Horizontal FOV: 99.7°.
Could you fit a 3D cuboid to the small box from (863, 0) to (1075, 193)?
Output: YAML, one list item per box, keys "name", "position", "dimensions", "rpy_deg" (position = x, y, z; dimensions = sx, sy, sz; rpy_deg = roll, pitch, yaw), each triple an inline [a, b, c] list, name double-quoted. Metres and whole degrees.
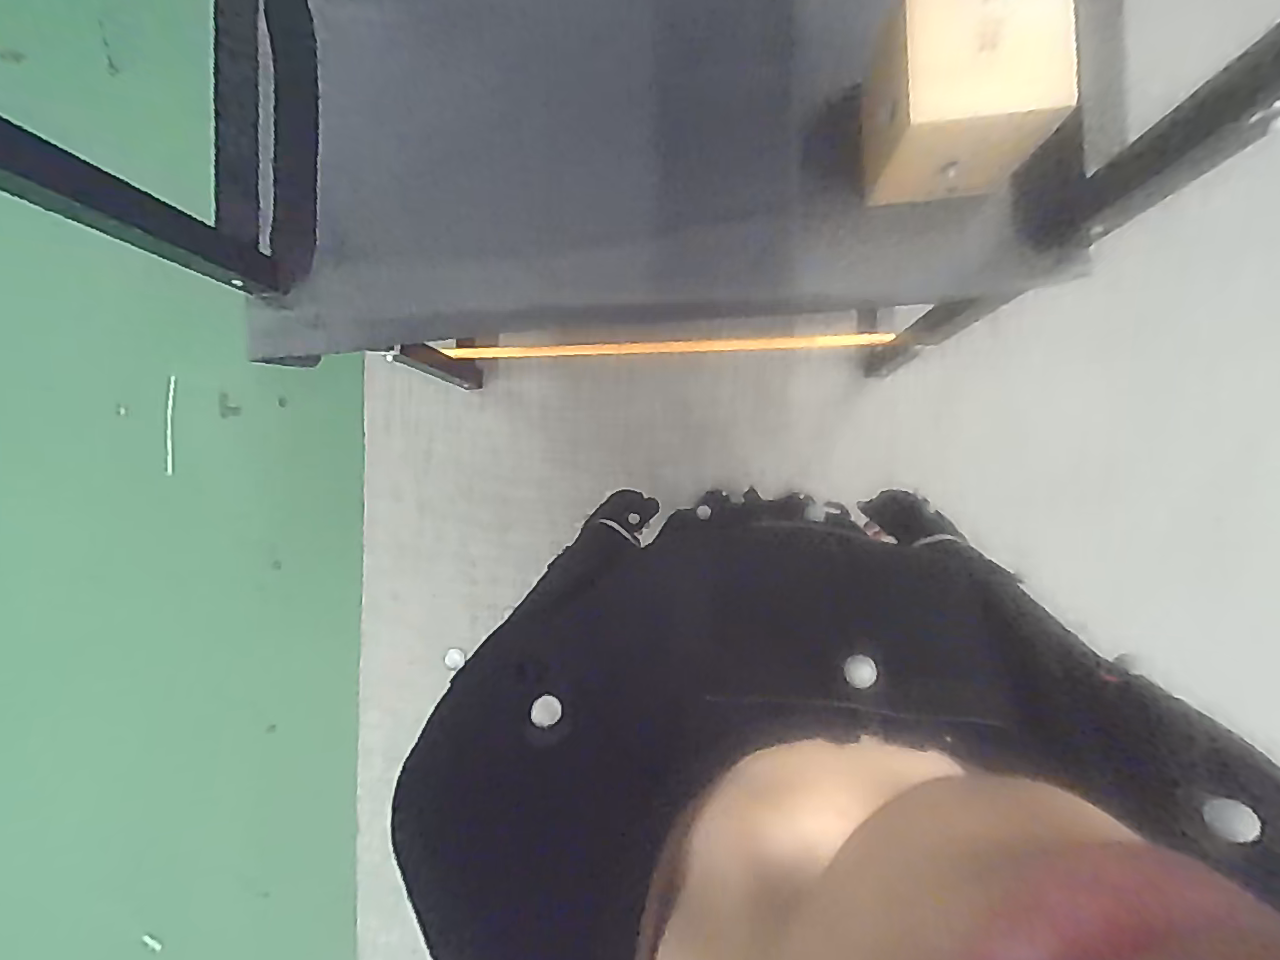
- name: "small box"
  position: [0.376, -0.468, 0.647]
  dimensions: [0.168, 0.176, 0.179]
  rpy_deg: [-2, 88, 7]
